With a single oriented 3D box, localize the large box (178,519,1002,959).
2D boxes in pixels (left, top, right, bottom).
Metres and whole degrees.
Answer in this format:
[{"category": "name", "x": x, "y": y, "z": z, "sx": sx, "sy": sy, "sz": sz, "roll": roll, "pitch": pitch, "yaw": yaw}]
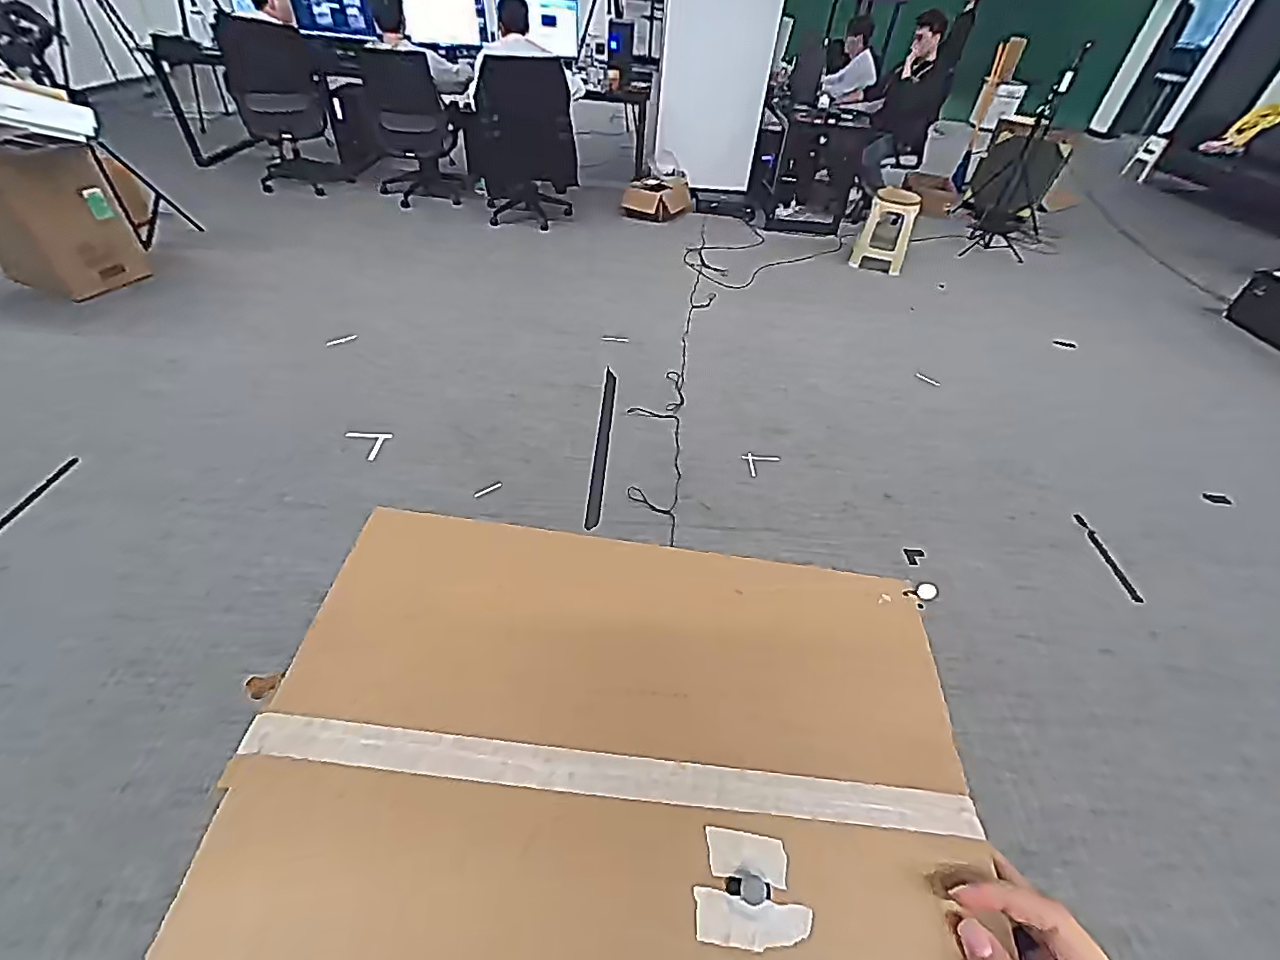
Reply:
[{"category": "large box", "x": -0.024, "y": 0.265, "z": 0.426, "sx": 0.408, "sy": 0.320, "sz": 0.320, "roll": 9, "pitch": 50, "yaw": -3}]
